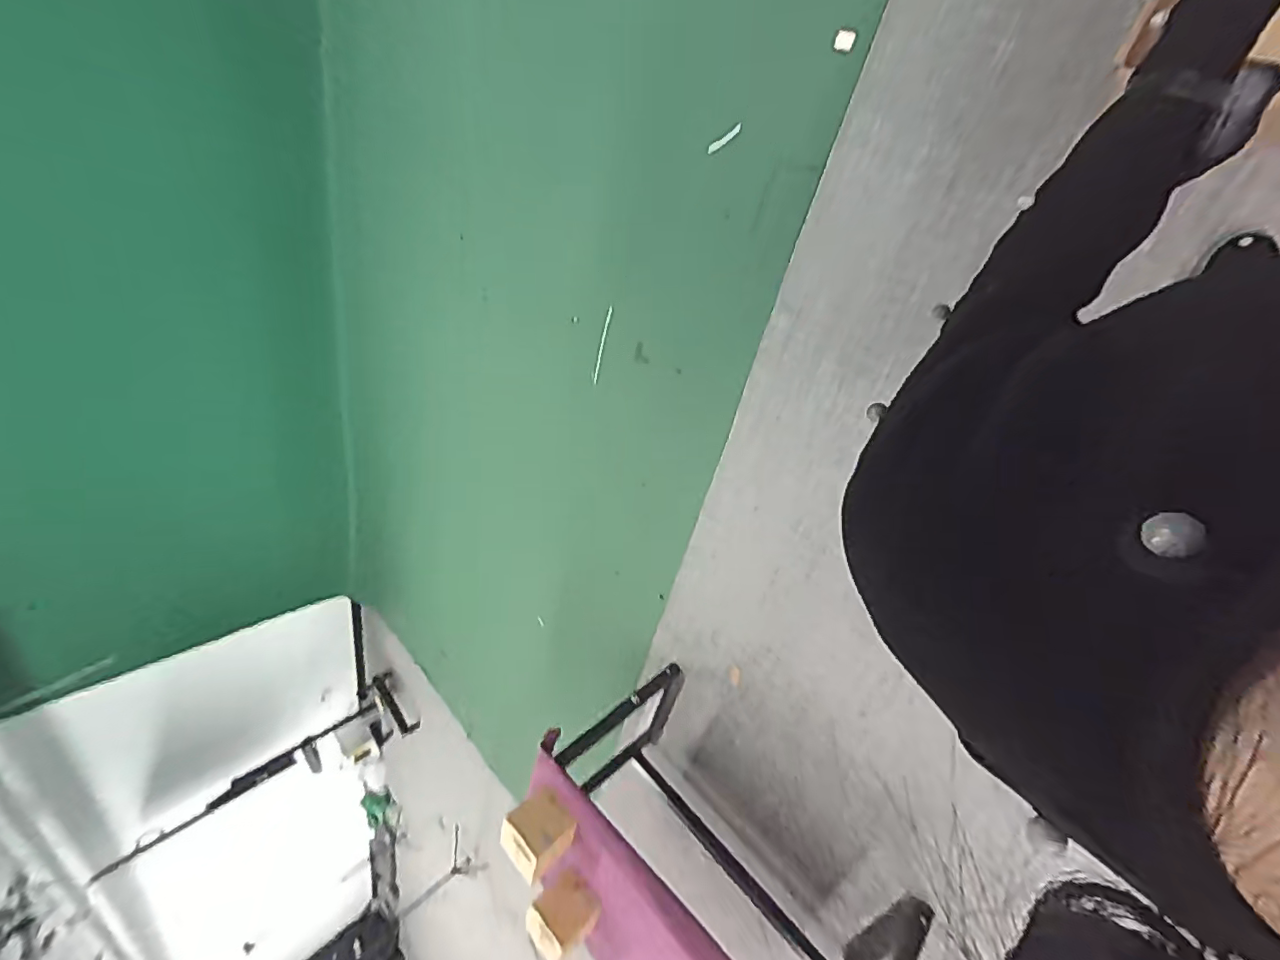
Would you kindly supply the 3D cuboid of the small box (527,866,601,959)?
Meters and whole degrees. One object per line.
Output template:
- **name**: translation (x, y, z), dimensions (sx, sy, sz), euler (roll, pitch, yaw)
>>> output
- **small box**: translation (-0.249, 1.429, 1.782), dimensions (0.168, 0.176, 0.179), euler (35, 127, 30)
